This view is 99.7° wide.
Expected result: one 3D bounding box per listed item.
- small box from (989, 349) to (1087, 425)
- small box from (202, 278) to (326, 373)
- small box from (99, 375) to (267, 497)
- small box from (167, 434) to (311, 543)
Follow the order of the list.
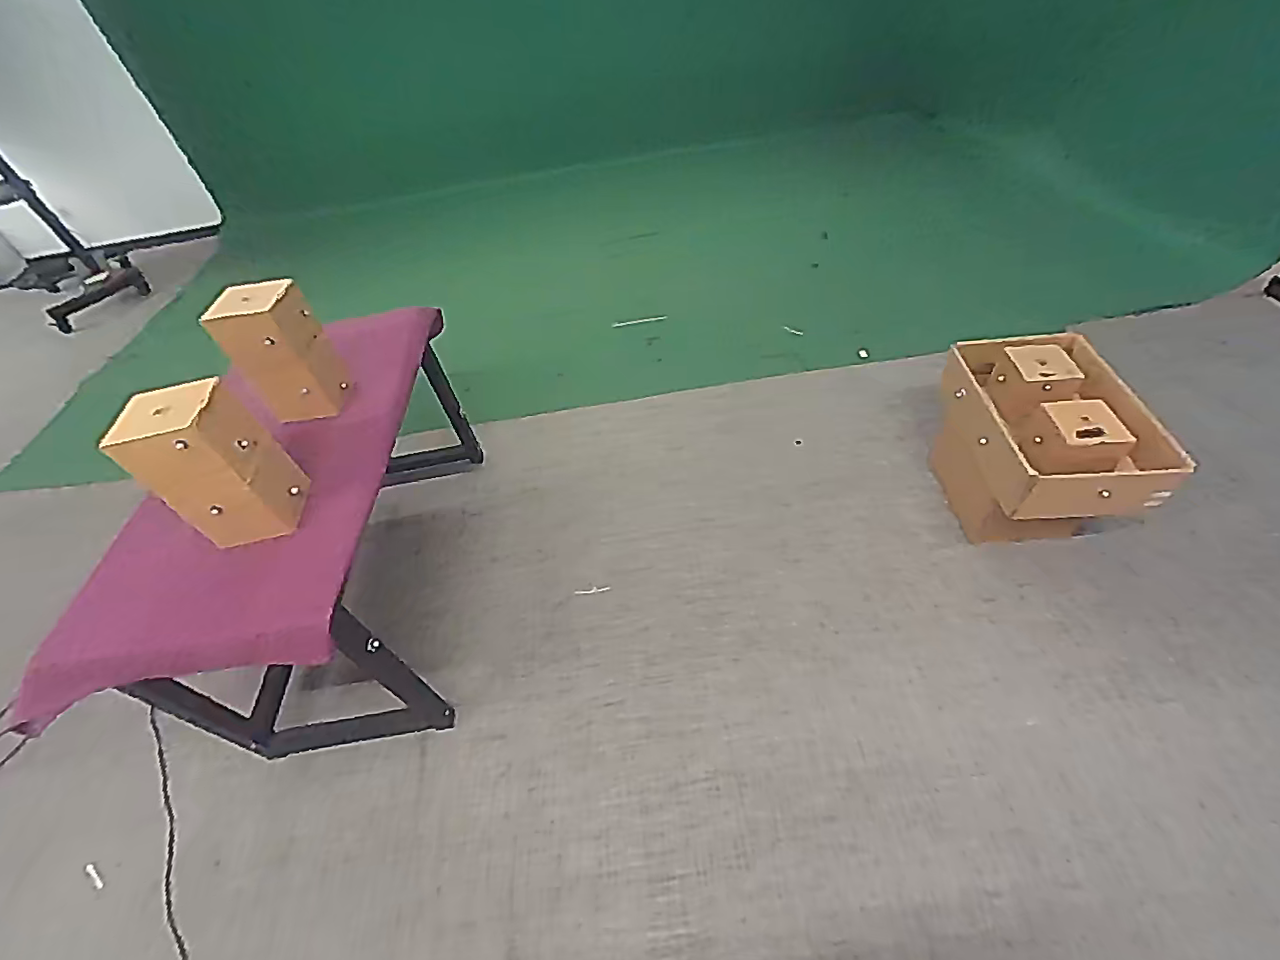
[{"bbox_3d":[1.240,-0.292,1.704,0.168,0.176,0.179,-3,47,6],"label":"small box"},{"bbox_3d":[-0.959,-0.398,1.401,0.179,0.176,0.168,-7,47,3],"label":"small box"},{"bbox_3d":[-0.922,-0.085,1.113,0.179,0.176,0.168,-13,47,-3],"label":"small box"},{"bbox_3d":[-0.898,0.024,1.231,0.179,0.176,0.168,-12,48,-1],"label":"small box"}]
